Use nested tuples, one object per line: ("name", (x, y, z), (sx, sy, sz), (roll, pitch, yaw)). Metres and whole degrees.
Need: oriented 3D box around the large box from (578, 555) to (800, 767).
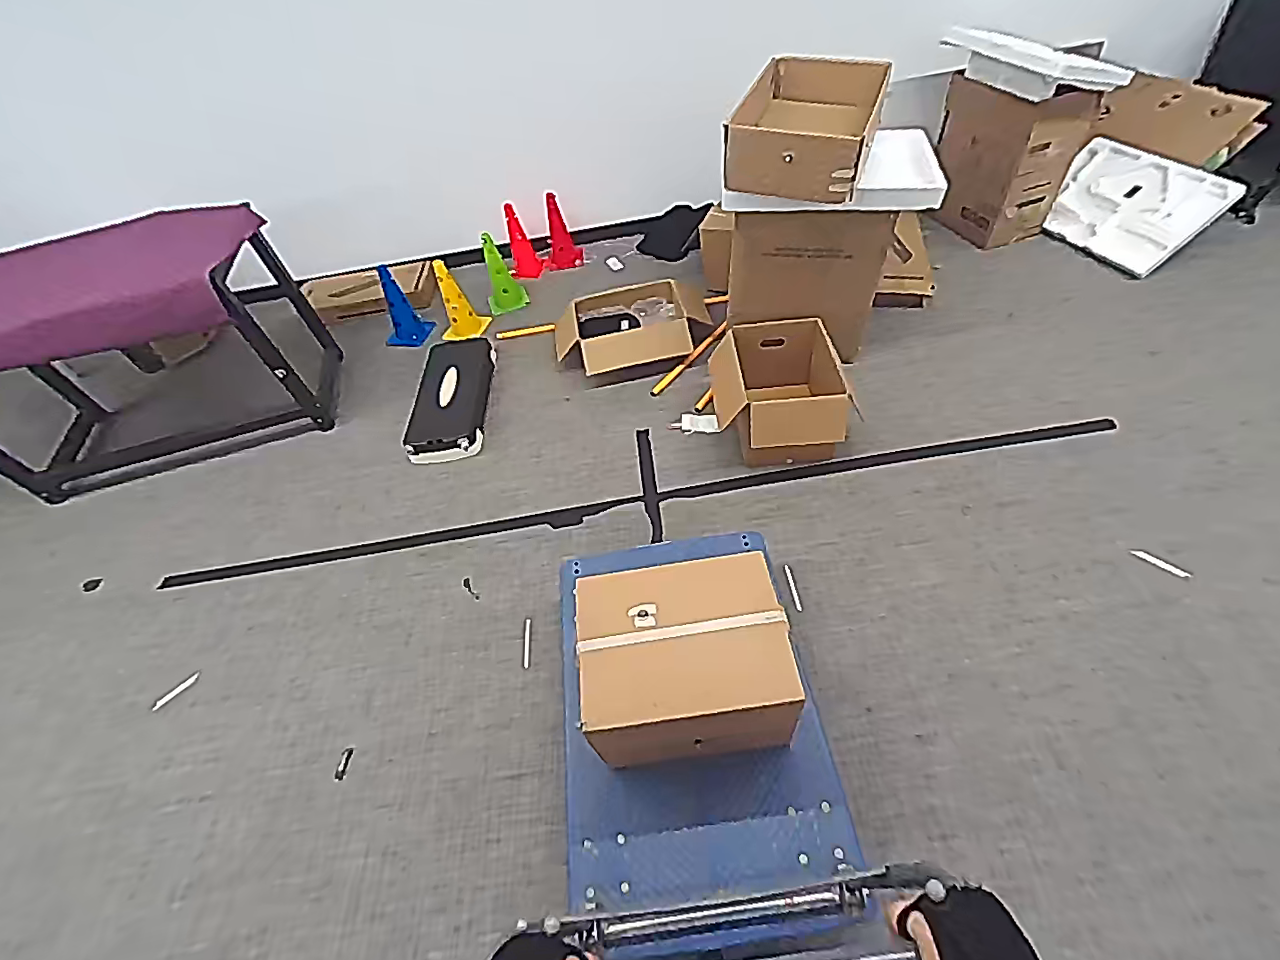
("large box", (0.099, 0.404, 1.187), (0.408, 0.320, 0.320), (-10, 49, 2))
